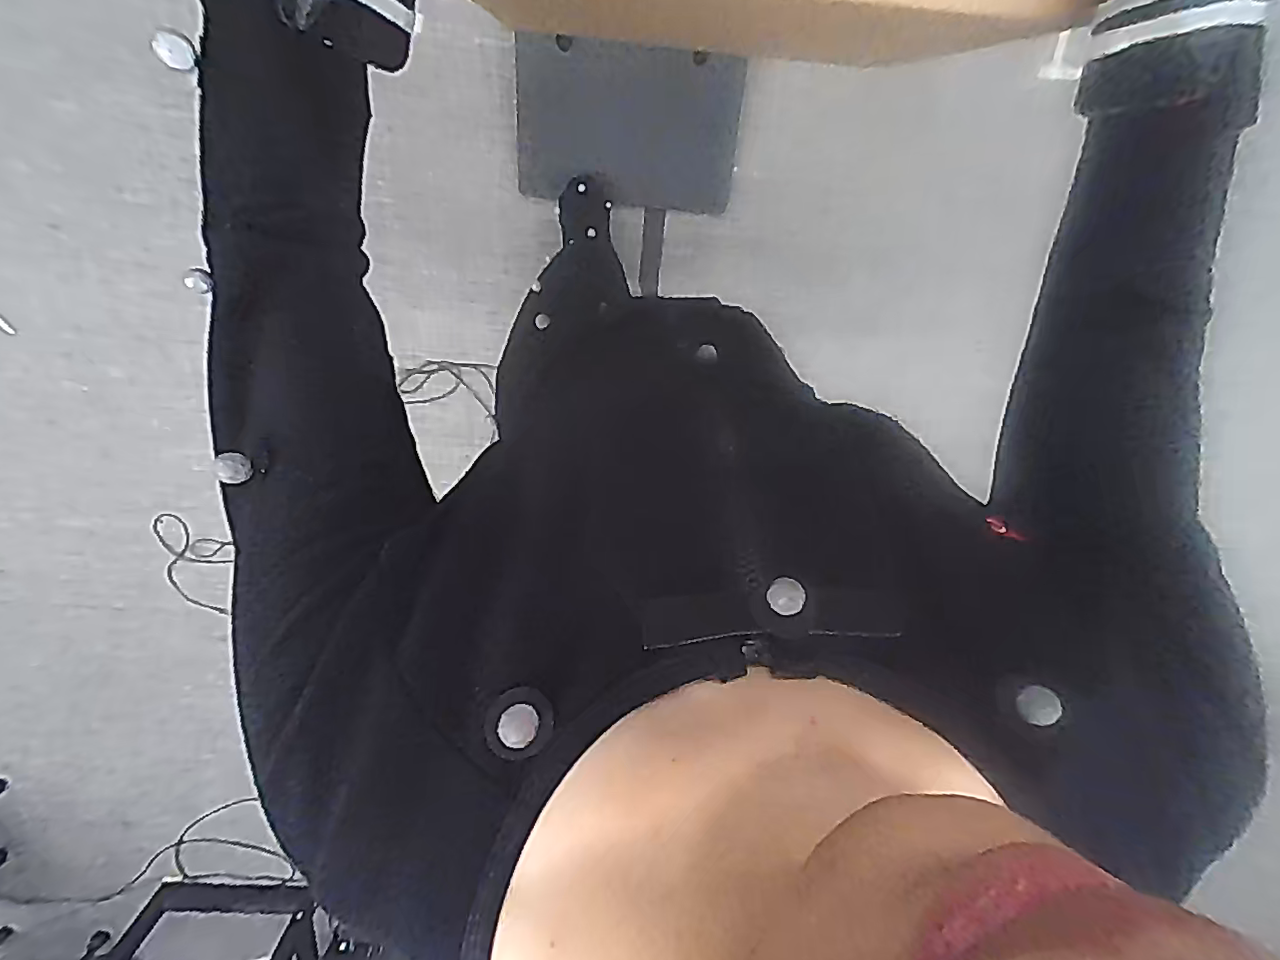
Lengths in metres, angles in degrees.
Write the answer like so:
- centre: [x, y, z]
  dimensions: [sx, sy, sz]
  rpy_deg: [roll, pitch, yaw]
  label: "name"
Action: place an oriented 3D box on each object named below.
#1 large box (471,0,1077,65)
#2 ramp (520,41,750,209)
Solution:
- centre: [0.072, -0.499, 0.363]
  dimensions: [0.408, 0.320, 0.320]
  rpy_deg: [2, 123, -4]
  label: "large box"
- centre: [0.009, -1.091, 1.036]
  dimensions: [0.509, 0.206, 0.991]
  rpy_deg: [2, 111, -3]
  label: "ramp"
